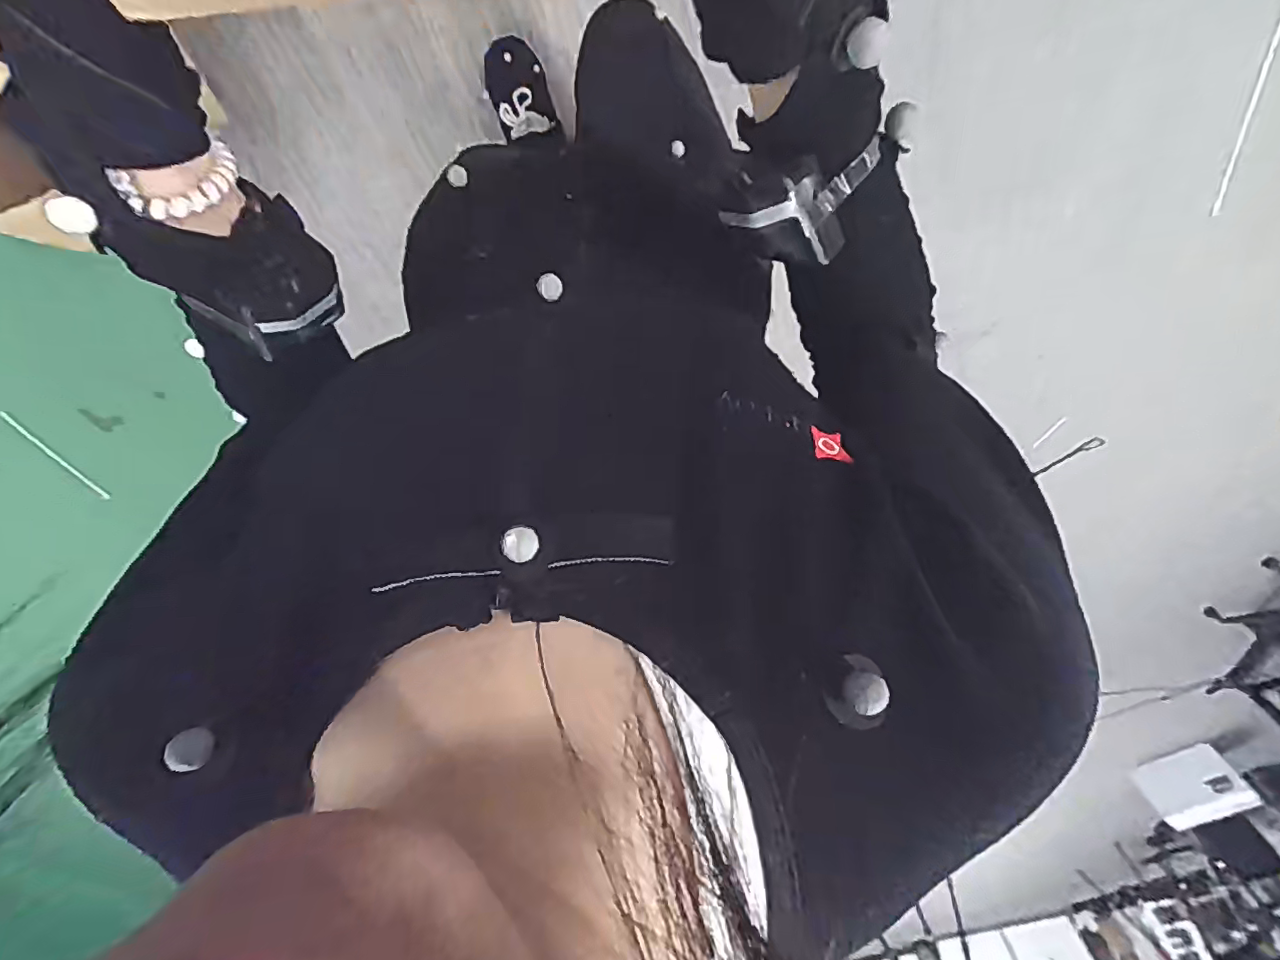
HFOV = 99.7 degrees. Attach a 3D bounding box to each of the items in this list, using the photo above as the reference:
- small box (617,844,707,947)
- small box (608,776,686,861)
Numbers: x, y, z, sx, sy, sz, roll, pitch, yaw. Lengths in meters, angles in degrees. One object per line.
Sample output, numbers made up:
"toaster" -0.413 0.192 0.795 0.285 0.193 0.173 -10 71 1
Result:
"small box" 0.054 1.062 1.387 0.179 0.176 0.168 -20 130 7
"small box" 0.020 0.955 1.506 0.168 0.176 0.179 -19 129 6
